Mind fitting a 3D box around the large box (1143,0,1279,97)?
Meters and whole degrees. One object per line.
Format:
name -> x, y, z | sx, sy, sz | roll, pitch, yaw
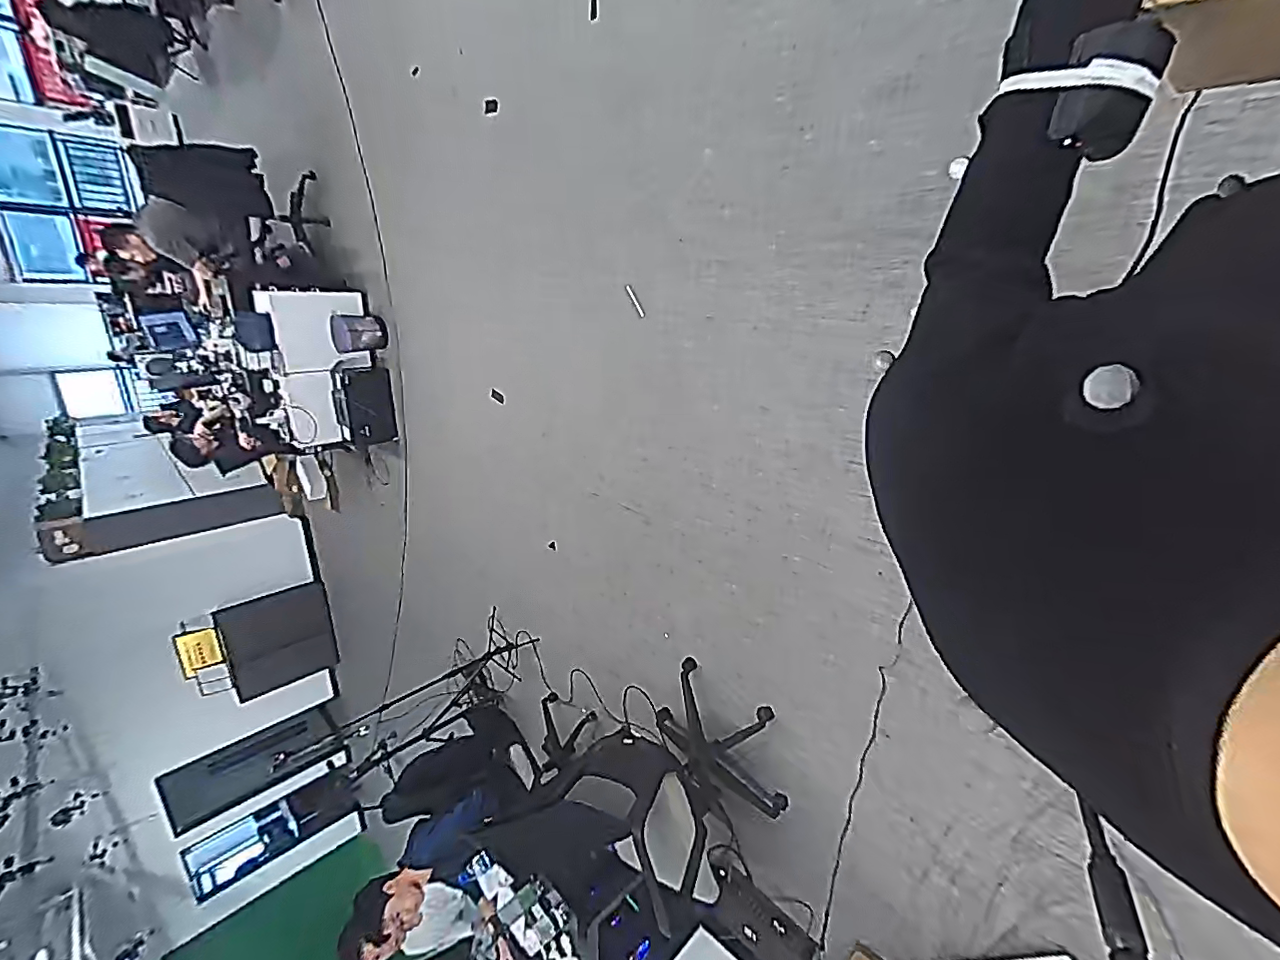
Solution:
large box -> 0.572, -0.435, 0.268 | 0.408, 0.320, 0.320 | 21, 122, 41
